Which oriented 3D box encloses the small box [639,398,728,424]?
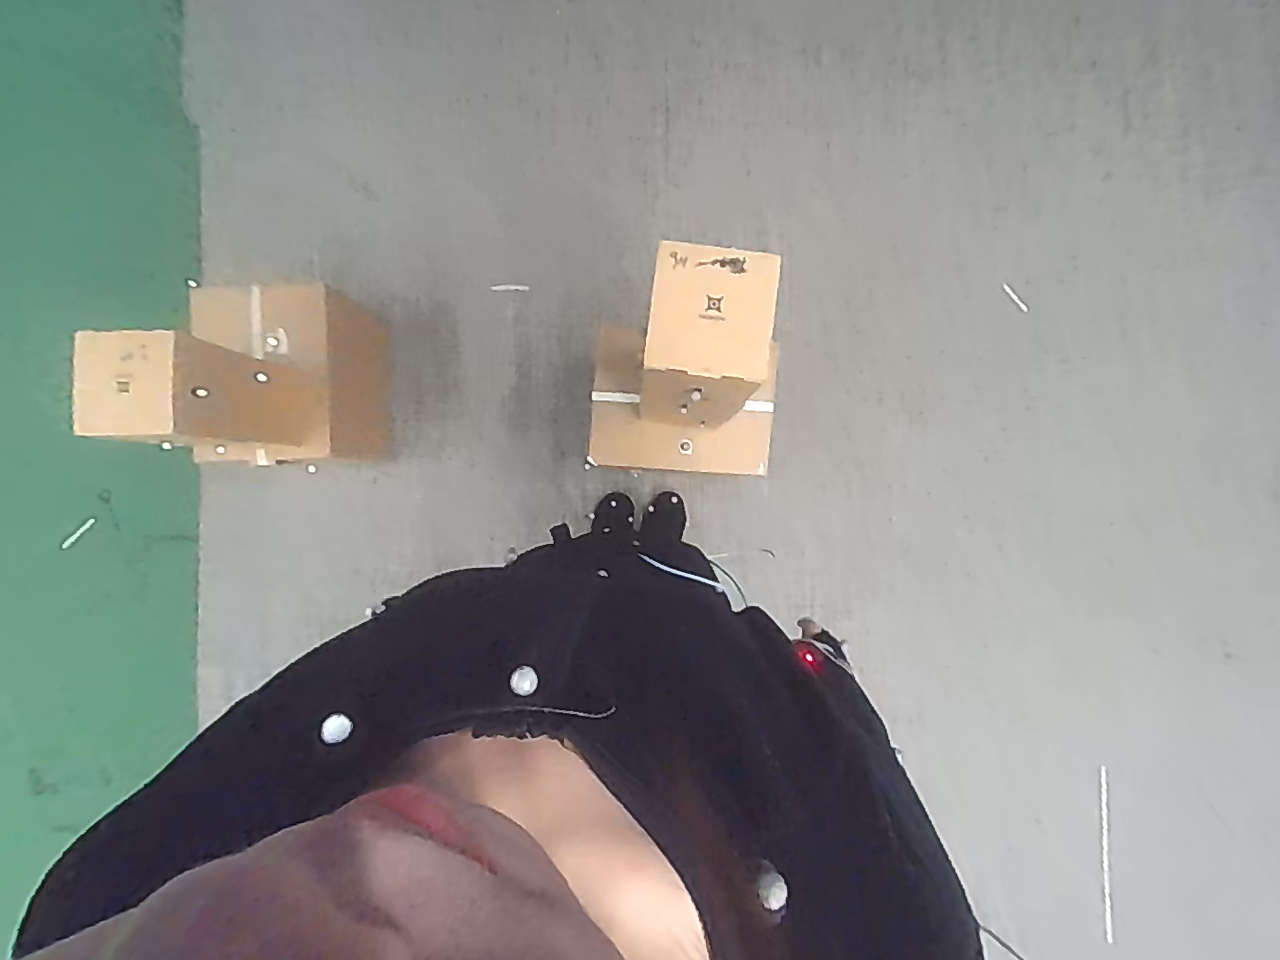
[{"bbox_3d":[0.095,-0.214,1.122,0.179,0.176,0.168,8,88,0],"label":"small box"}]

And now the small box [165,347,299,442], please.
[{"bbox_3d":[-0.843,-0.172,1.127,0.168,0.176,0.179,0,89,0],"label":"small box"}]

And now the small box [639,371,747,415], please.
[{"bbox_3d":[0.097,-0.215,0.958,0.179,0.176,0.168,9,87,1],"label":"small box"}]

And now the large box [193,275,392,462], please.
[{"bbox_3d":[-0.855,-0.258,1.371,0.320,0.320,0.408,-2,89,0],"label":"large box"}]

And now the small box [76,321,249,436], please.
[{"bbox_3d":[-0.836,-0.171,0.962,0.168,0.176,0.179,0,89,0],"label":"small box"}]

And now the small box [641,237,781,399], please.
[{"bbox_3d":[0.095,-0.224,0.794,0.168,0.176,0.179,9,88,0],"label":"small box"}]
